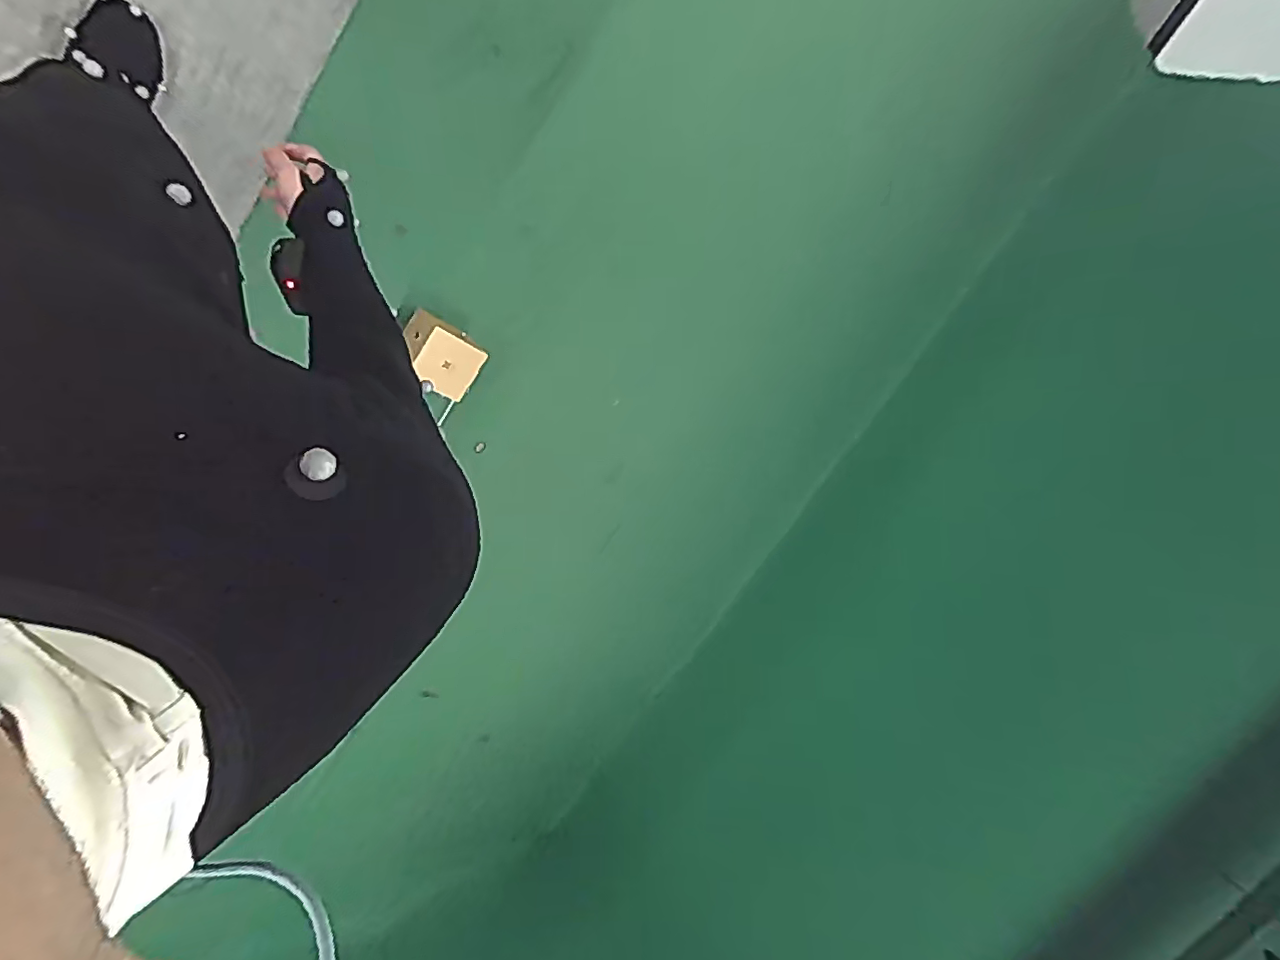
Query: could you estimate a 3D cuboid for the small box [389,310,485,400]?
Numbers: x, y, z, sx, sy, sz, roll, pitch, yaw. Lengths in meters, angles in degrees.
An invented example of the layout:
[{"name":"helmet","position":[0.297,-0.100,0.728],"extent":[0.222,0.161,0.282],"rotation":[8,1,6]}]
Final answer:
[{"name":"small box","position":[-0.584,-0.362,1.545],"extent":[0.179,0.176,0.168],"rotation":[25,103,-50]}]
